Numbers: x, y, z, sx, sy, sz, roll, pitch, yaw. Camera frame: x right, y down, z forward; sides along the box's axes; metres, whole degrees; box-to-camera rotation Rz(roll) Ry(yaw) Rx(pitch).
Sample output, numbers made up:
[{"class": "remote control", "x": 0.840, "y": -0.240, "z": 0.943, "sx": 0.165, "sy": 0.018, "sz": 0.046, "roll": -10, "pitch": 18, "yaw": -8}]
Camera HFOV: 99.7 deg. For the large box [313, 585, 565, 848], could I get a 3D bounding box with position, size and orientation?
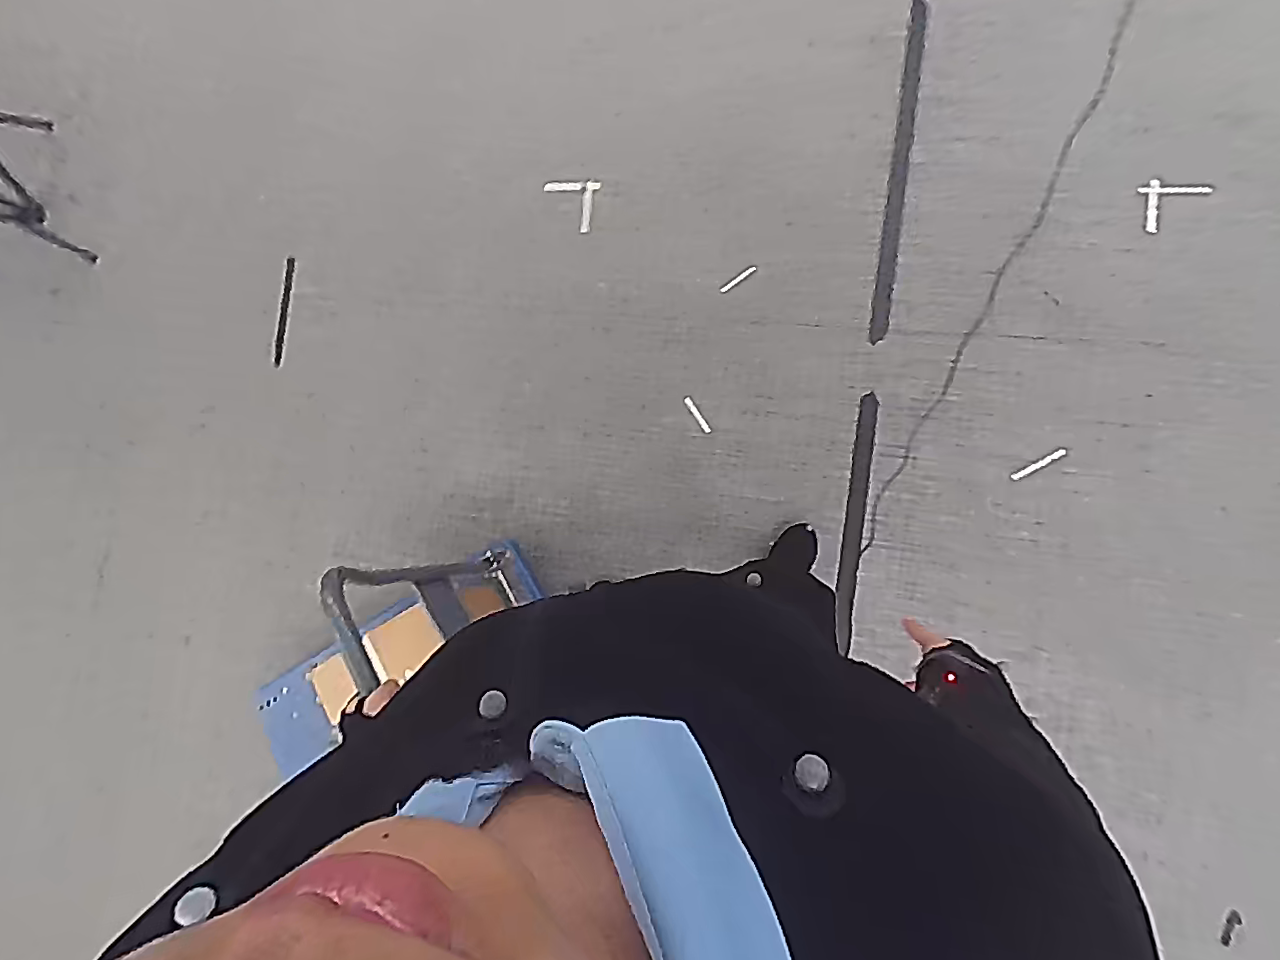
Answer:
[{"class": "large box", "x": -0.434, "y": 0.501, "z": 1.233, "sx": 0.320, "sy": 0.320, "sz": 0.408, "roll": -32, "pitch": 80, "yaw": 6}]
